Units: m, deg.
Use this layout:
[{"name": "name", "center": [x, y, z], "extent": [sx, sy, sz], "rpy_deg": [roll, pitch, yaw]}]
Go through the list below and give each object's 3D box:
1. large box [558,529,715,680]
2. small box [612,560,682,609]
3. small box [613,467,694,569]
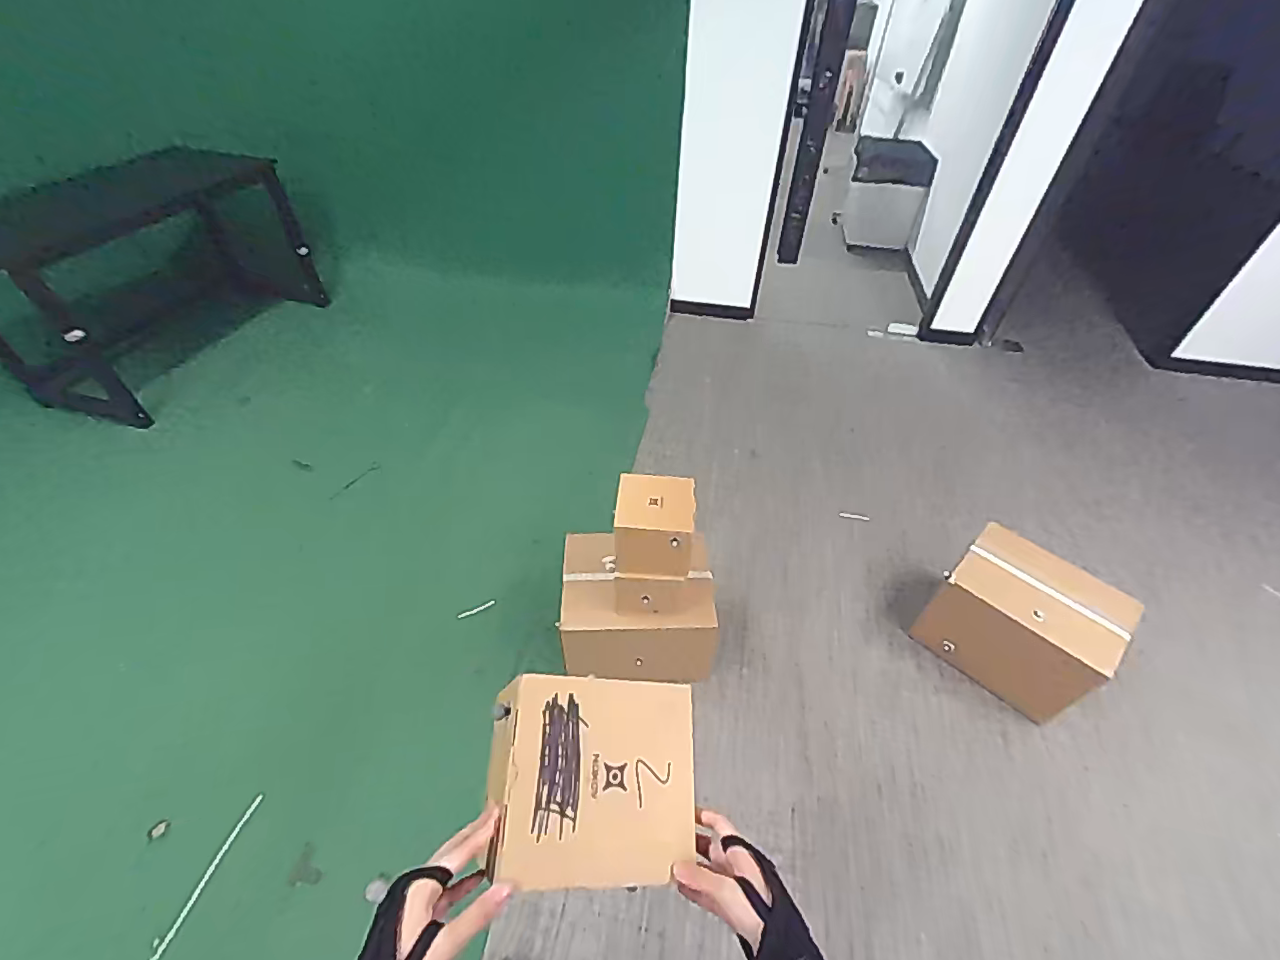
[{"name": "large box", "center": [-0.016, 0.360, 1.564], "extent": [0.408, 0.320, 0.320], "rpy_deg": [-1, 44, -2]}, {"name": "small box", "center": [0.020, 0.209, 1.368], "extent": [0.168, 0.176, 0.179], "rpy_deg": [4, 46, 0]}, {"name": "small box", "center": [0.031, 0.091, 1.257], "extent": [0.179, 0.176, 0.168], "rpy_deg": [5, 46, 1]}]
